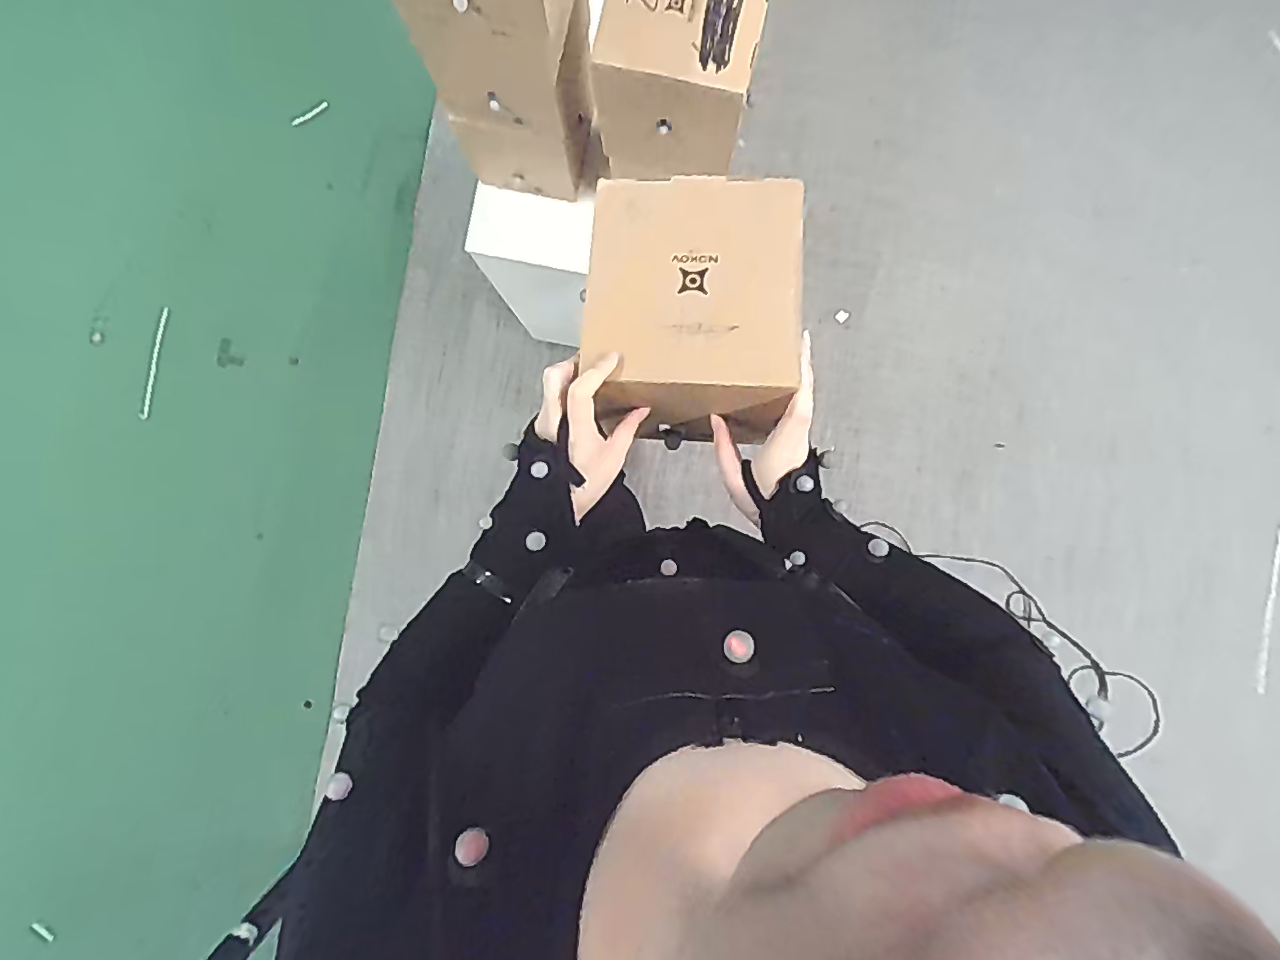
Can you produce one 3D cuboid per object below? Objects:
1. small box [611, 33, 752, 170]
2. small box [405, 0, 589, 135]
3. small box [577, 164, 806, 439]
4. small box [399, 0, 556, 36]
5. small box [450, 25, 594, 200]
[{"bbox_3d":[0.059,-0.517,0.826,0.168,0.176,0.179,13,90,2],"label":"small box"},{"bbox_3d":[-0.162,-0.574,0.664,0.168,0.176,0.179,13,90,0],"label":"small box"},{"bbox_3d":[0.047,-0.149,0.492,0.168,0.176,0.179,4,80,6],"label":"small box"},{"bbox_3d":[-0.159,-0.566,0.499,0.179,0.176,0.168,13,89,-1],"label":"small box"},{"bbox_3d":[-0.168,-0.570,0.828,0.168,0.176,0.179,12,91,0],"label":"small box"}]
